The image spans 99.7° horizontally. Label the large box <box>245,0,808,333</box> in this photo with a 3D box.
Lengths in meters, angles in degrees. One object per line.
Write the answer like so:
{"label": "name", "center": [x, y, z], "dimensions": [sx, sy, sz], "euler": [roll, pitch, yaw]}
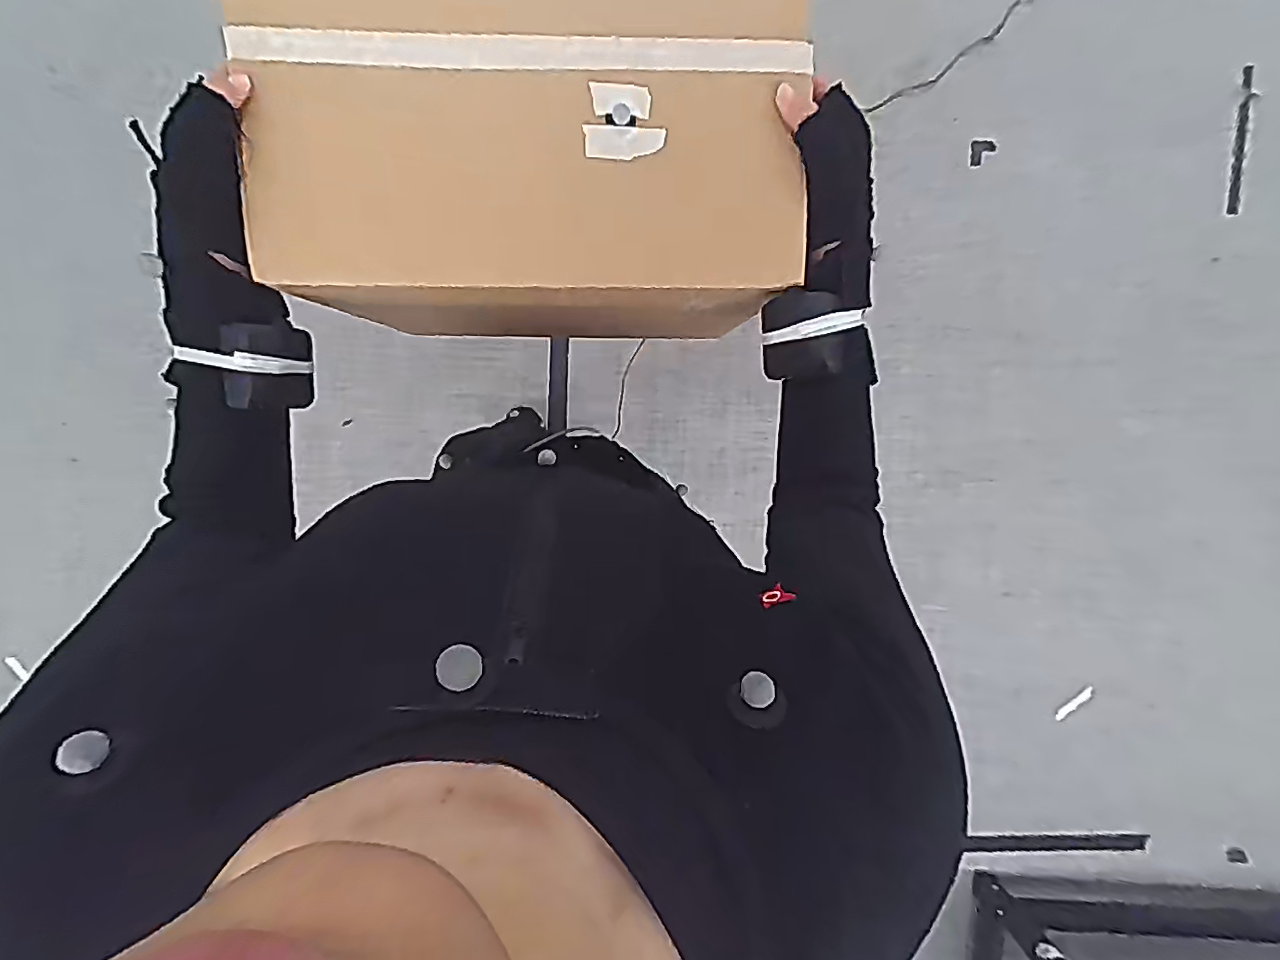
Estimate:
{"label": "large box", "center": [-0.086, -0.325, 0.535], "dimensions": [0.408, 0.320, 0.320], "euler": [-1, 99, -4]}
